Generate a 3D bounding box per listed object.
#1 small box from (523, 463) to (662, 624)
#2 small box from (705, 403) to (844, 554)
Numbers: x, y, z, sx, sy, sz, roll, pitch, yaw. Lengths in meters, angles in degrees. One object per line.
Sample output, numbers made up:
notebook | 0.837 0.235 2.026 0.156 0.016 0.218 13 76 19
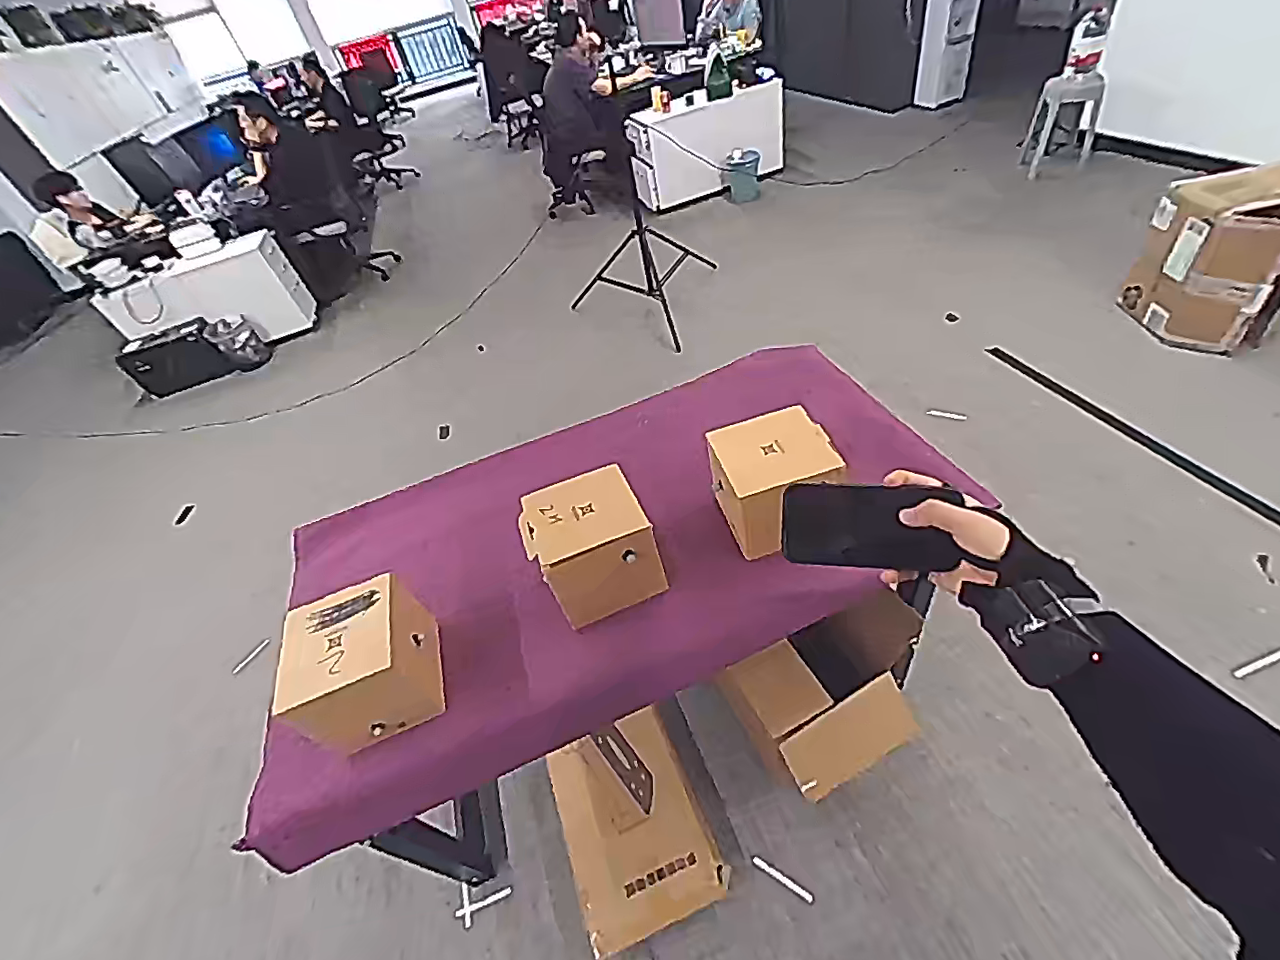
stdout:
small box | -0.073 0.106 0.903 0.179 0.176 0.168 -23 43 -7
small box | 0.227 0.001 0.925 0.179 0.176 0.168 -17 45 -2
